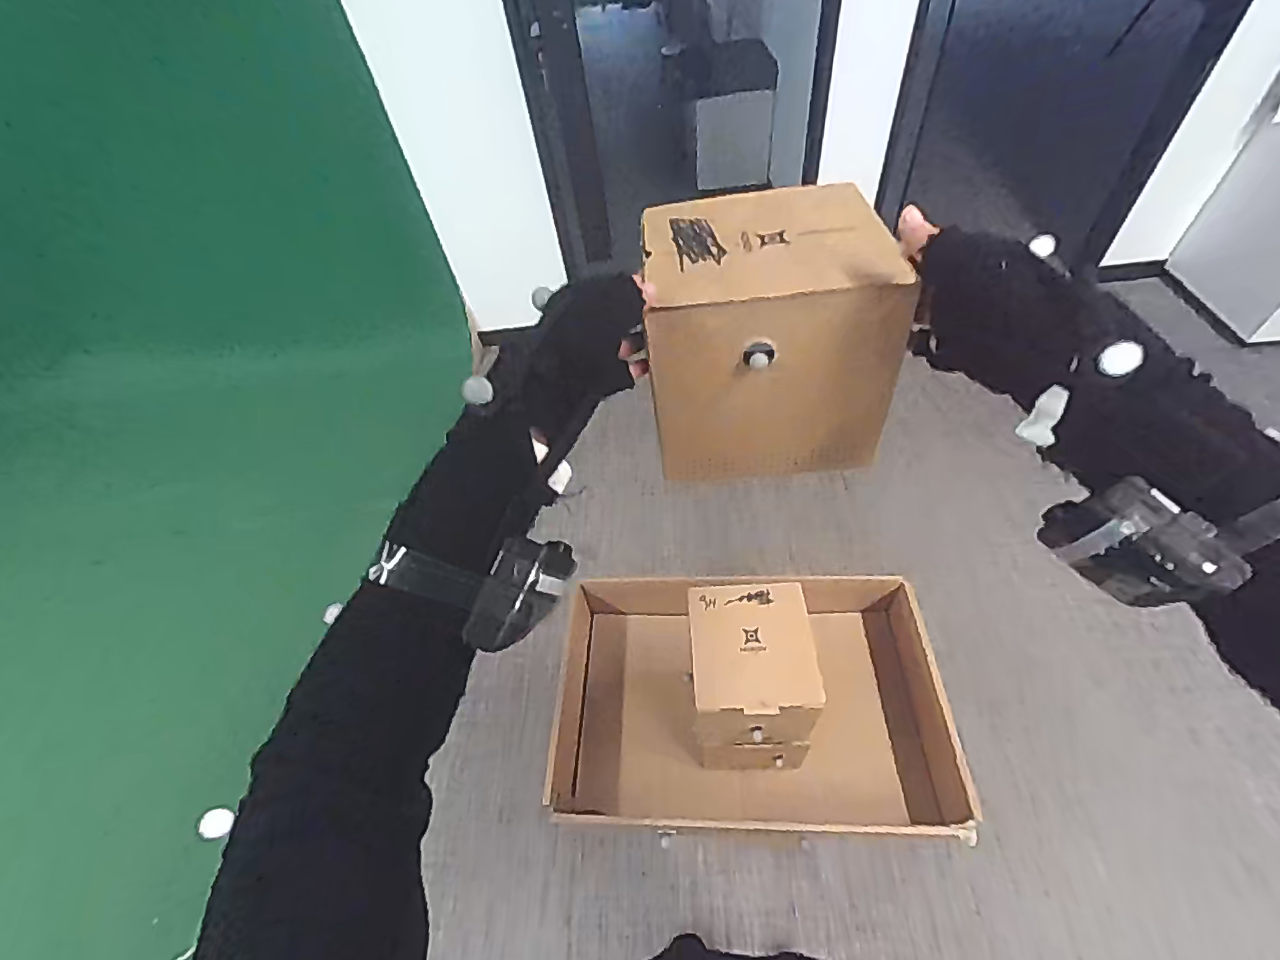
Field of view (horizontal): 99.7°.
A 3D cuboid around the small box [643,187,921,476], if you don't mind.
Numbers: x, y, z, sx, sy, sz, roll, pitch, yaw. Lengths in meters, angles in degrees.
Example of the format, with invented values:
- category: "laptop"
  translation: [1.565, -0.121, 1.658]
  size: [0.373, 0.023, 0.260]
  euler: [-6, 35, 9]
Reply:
- category: "small box"
  translation: [0.100, -0.117, 0.451]
  size: [0.179, 0.176, 0.168]
  euler: [-4, 47, 5]

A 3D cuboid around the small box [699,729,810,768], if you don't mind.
- category: "small box"
  translation: [0.182, 0.381, 0.920]
  size: [0.168, 0.176, 0.179]
  euler: [-3, 49, 4]

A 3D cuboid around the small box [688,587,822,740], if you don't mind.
- category: "small box"
  translation: [0.159, 0.275, 0.797]
  size: [0.168, 0.176, 0.179]
  euler: [-3, 51, 4]
